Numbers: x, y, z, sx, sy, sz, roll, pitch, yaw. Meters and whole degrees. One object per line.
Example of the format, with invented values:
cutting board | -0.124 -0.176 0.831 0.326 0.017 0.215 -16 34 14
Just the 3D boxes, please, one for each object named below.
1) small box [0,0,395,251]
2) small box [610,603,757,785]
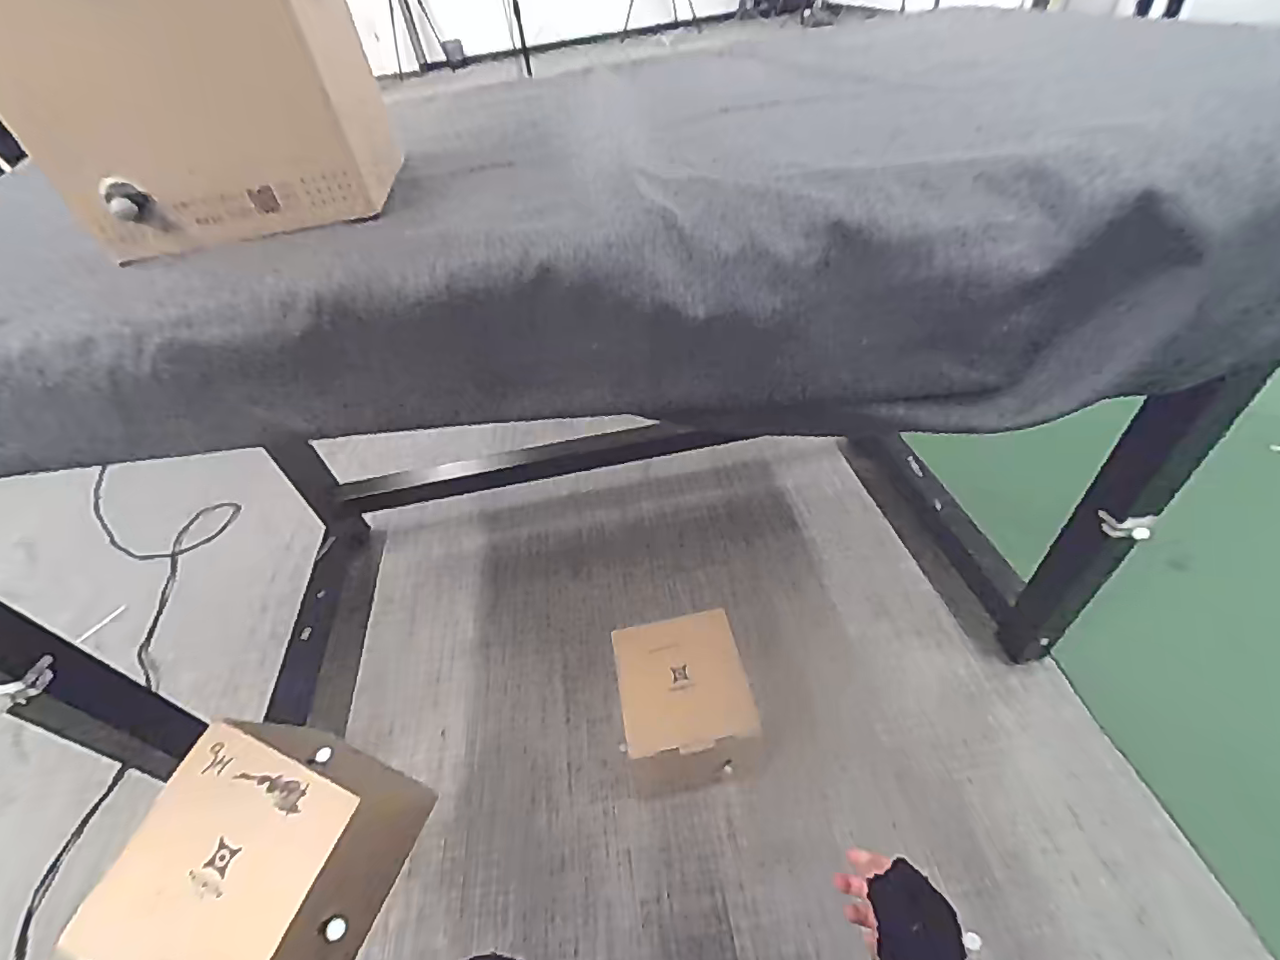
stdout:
small box | -0.280 -0.264 0.351 0.168 0.176 0.179 -14 42 -5
small box | 0.060 0.307 0.763 0.168 0.176 0.179 -12 43 -3
